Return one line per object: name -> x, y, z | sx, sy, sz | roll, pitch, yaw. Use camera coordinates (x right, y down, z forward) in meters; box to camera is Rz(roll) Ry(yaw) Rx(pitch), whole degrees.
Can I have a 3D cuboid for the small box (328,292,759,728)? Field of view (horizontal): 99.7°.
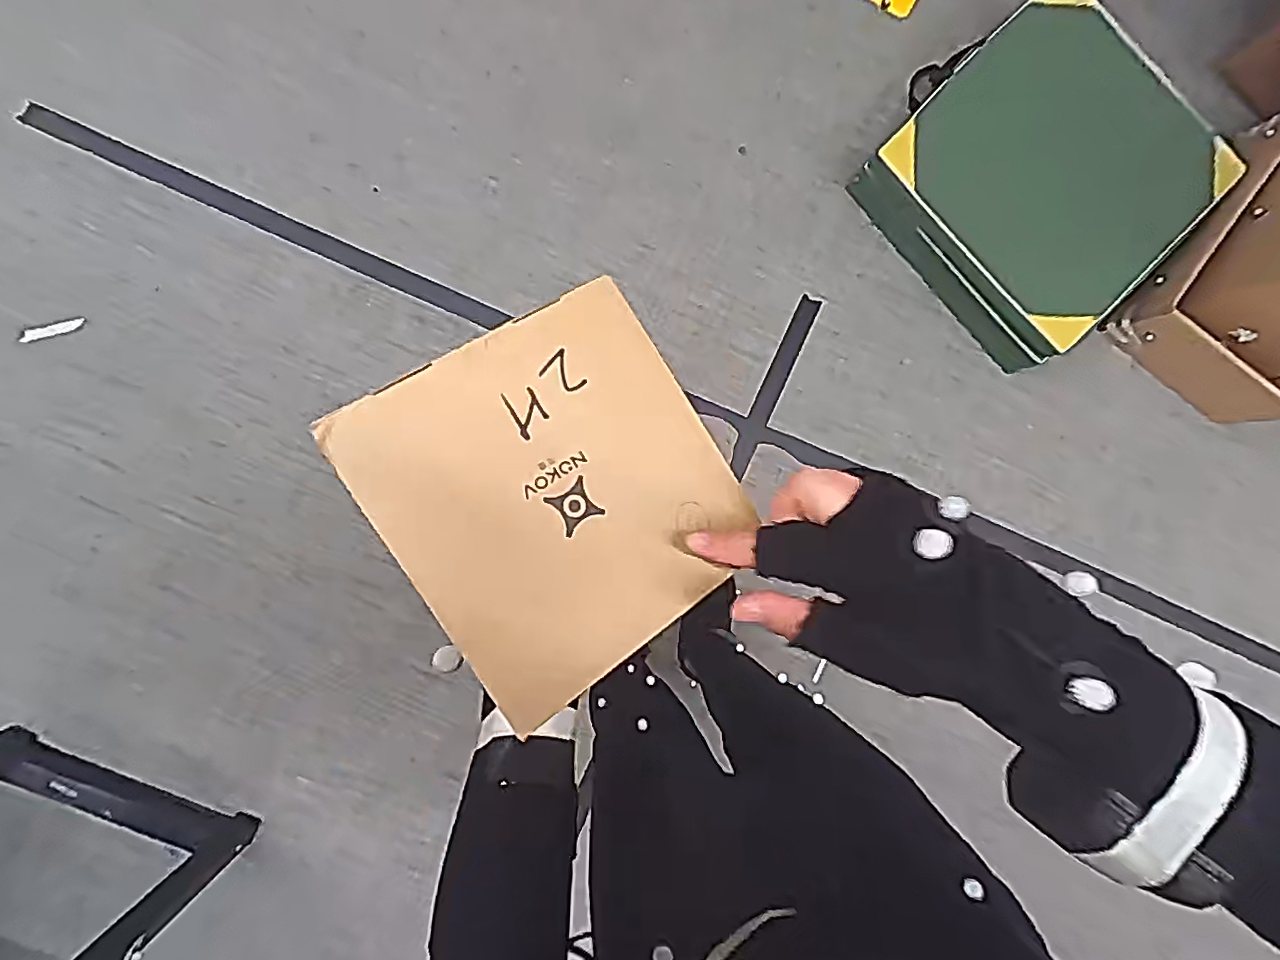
small box -> -0.062, 0.016, 0.356 | 0.168, 0.176, 0.179 | -33, 95, -20
